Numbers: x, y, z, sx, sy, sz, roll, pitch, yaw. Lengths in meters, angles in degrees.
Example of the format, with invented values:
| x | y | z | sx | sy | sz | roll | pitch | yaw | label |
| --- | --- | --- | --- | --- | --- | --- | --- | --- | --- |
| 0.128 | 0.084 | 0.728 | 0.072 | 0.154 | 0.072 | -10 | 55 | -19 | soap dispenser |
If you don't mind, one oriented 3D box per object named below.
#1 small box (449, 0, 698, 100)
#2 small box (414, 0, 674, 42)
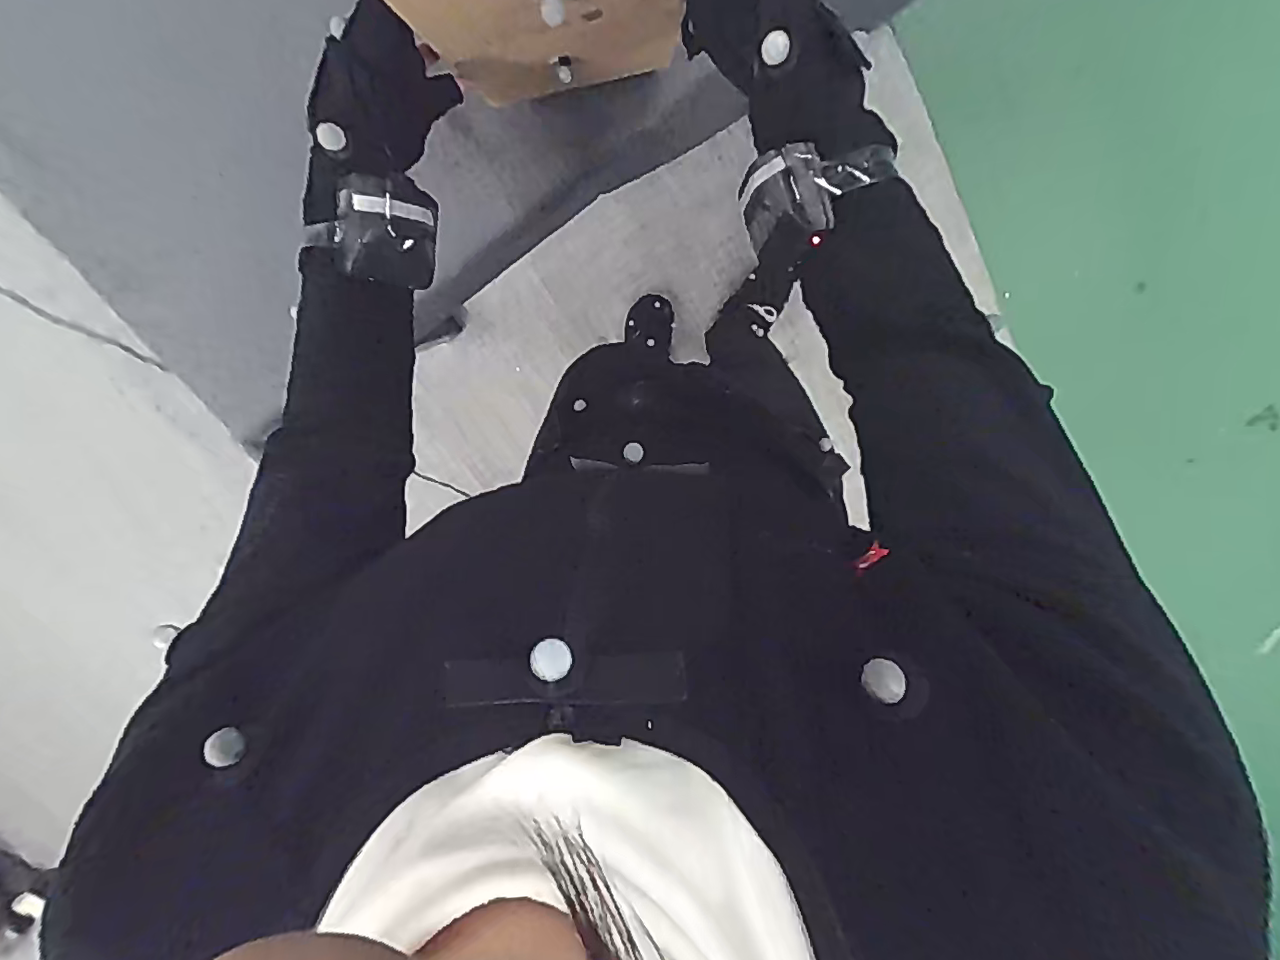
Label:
| x | y | z | sx | sy | sz | roll | pitch | yaw | label |
| --- | --- | --- | --- | --- | --- | --- | --- | --- | --- |
| -0.060 | -0.417 | 0.412 | 0.179 | 0.176 | 0.168 | -10 | 114 | 3 | small box |
| -0.059 | -0.350 | 0.263 | 0.168 | 0.176 | 0.179 | -11 | 114 | 3 | small box |
